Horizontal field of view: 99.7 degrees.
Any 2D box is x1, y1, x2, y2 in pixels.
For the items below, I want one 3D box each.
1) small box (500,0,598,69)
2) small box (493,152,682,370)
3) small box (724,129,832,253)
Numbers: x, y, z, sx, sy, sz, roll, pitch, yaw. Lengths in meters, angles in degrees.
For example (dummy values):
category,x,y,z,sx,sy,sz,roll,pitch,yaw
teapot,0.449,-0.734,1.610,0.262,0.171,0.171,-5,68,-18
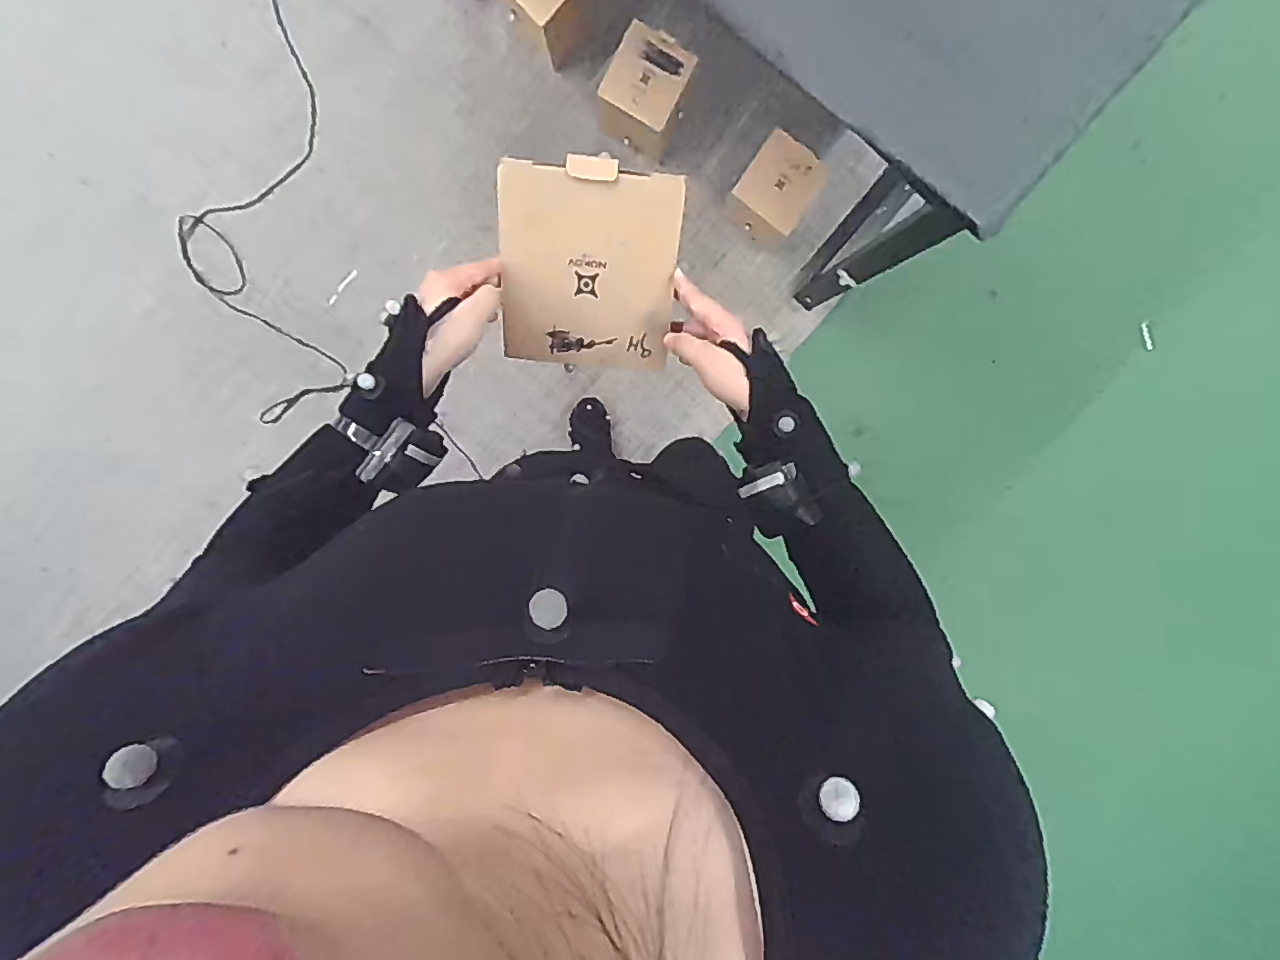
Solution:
category,x,y,z,sx,sy,sz,roll,pitch,yaw
small box,-0.209,-1.101,1.229,0.168,0.176,0.179,45,95,-6
small box,-0.051,-0.231,0.569,0.168,0.176,0.179,6,118,-1
small box,0.318,-0.677,1.294,0.168,0.176,0.179,36,97,-6
